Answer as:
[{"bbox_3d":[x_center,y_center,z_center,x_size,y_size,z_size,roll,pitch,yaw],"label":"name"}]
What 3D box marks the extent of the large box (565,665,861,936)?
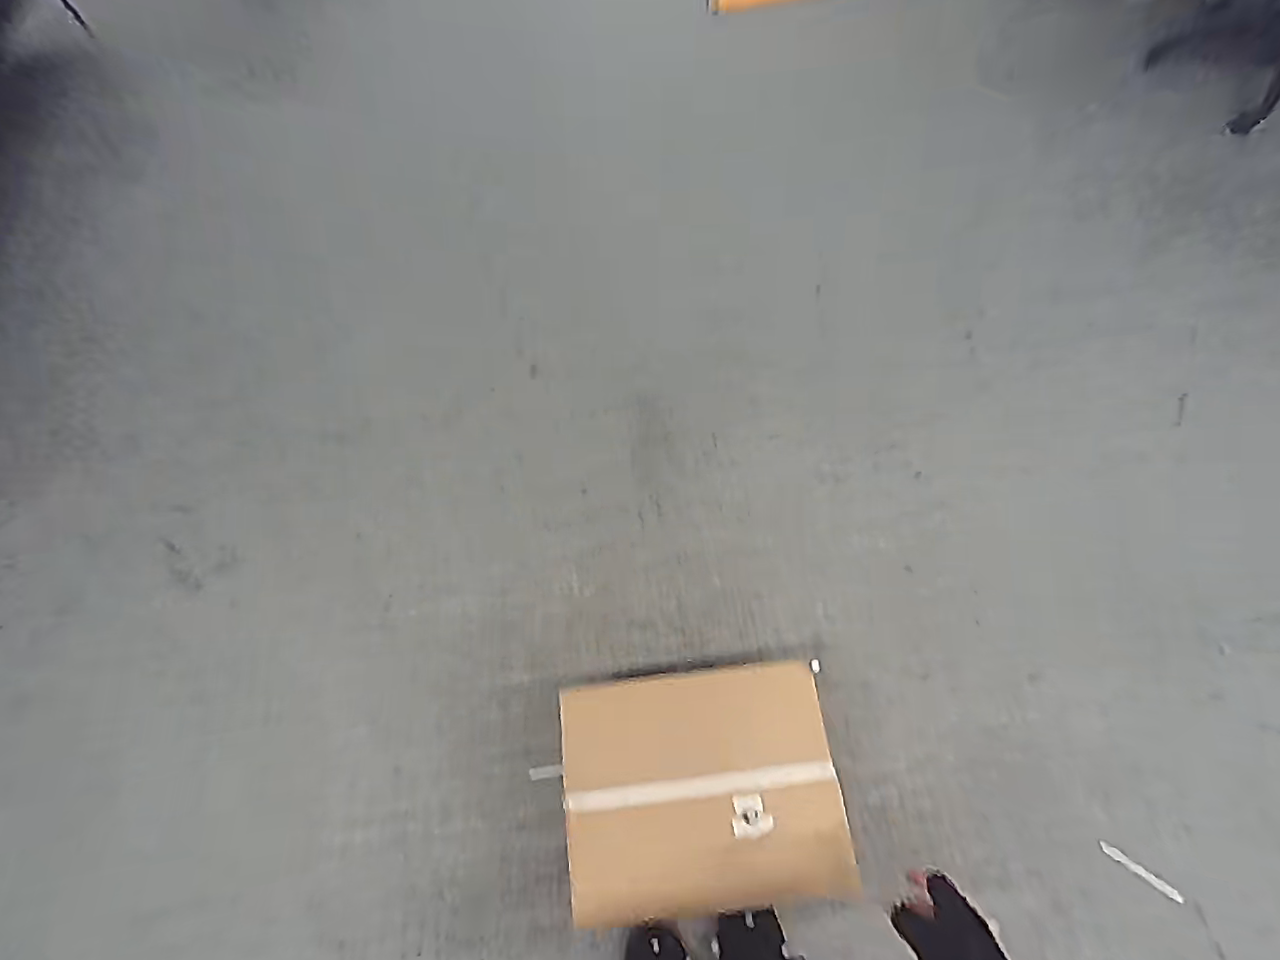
[{"bbox_3d":[0.099,0.525,0.942,0.408,0.320,0.320,-7,66,-1],"label":"large box"}]
